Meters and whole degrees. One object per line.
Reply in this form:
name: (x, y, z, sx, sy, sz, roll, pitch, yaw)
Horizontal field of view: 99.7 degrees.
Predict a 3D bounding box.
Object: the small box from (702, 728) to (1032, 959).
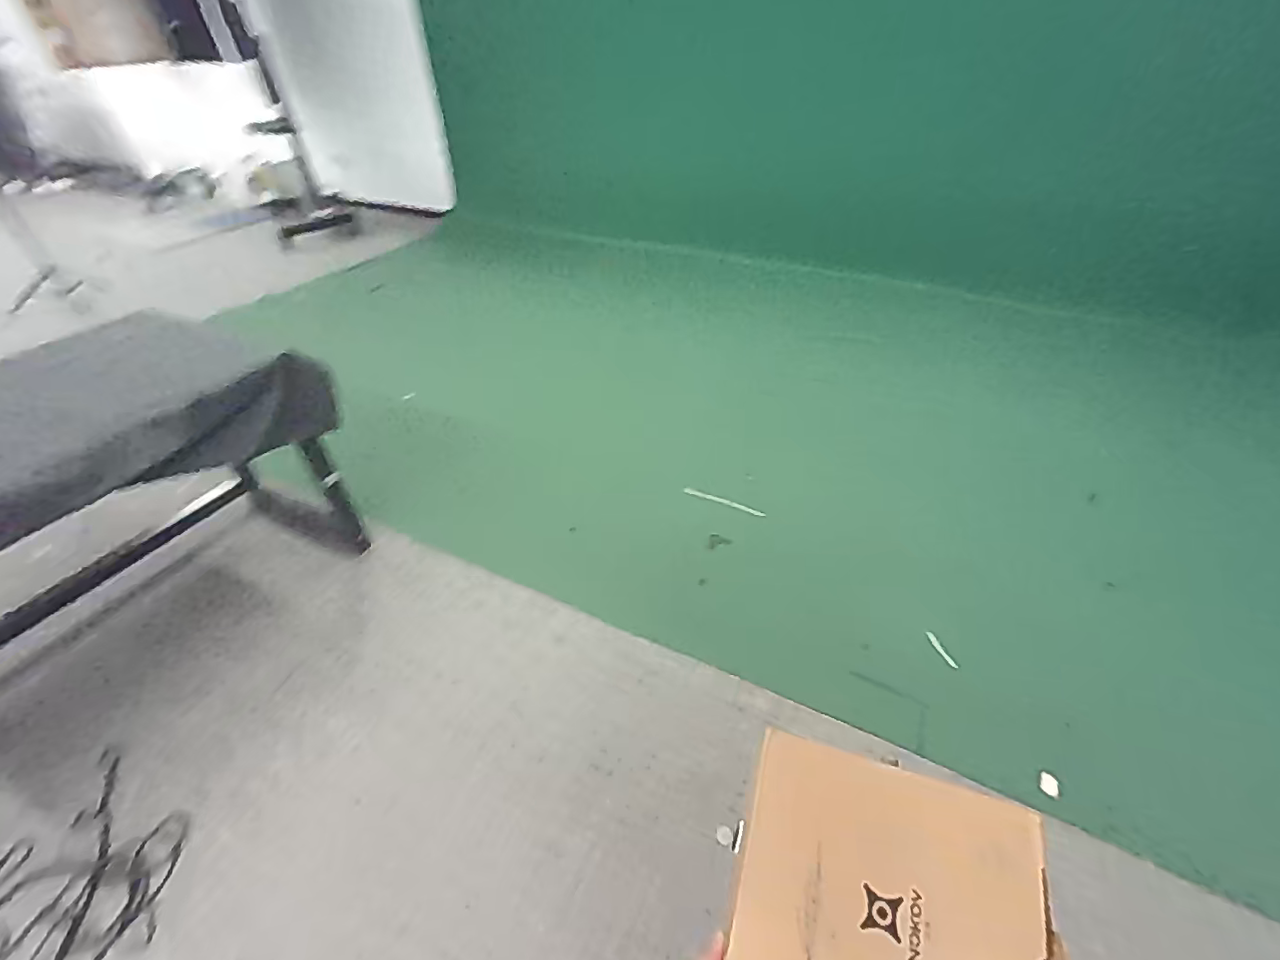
small box: (0.146, 0.302, 0.389, 0.179, 0.176, 0.168, 11, 57, 15)
